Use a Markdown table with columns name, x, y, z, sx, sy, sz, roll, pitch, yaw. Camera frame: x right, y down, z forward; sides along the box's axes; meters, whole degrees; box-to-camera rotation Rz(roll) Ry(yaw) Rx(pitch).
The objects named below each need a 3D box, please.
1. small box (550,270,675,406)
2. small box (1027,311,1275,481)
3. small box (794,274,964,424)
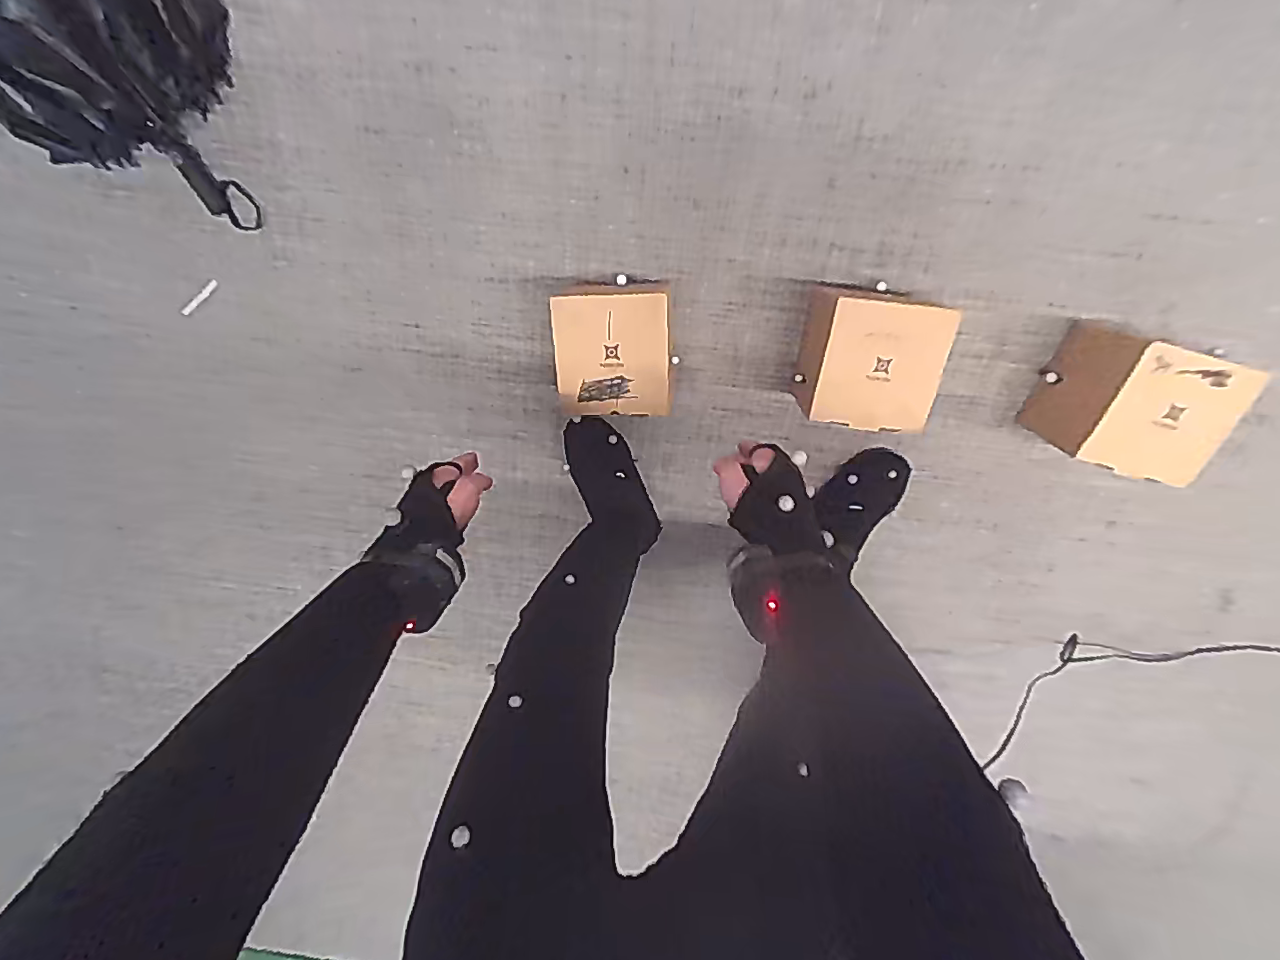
| name | x | y | z | sx | sy | sz | roll | pitch | yaw |
| --- | --- | --- | --- | --- | --- | --- | --- | --- | --- |
| small box | -0.032 | -0.222 | 0.834 | 0.168 | 0.176 | 0.179 | 1 | 115 | 6 |
| small box | 0.721 | -0.130 | 0.797 | 0.168 | 0.176 | 0.179 | 16 | 118 | -1 |
| small box | 0.337 | -0.200 | 0.807 | 0.168 | 0.176 | 0.179 | 7 | 115 | 2 |
